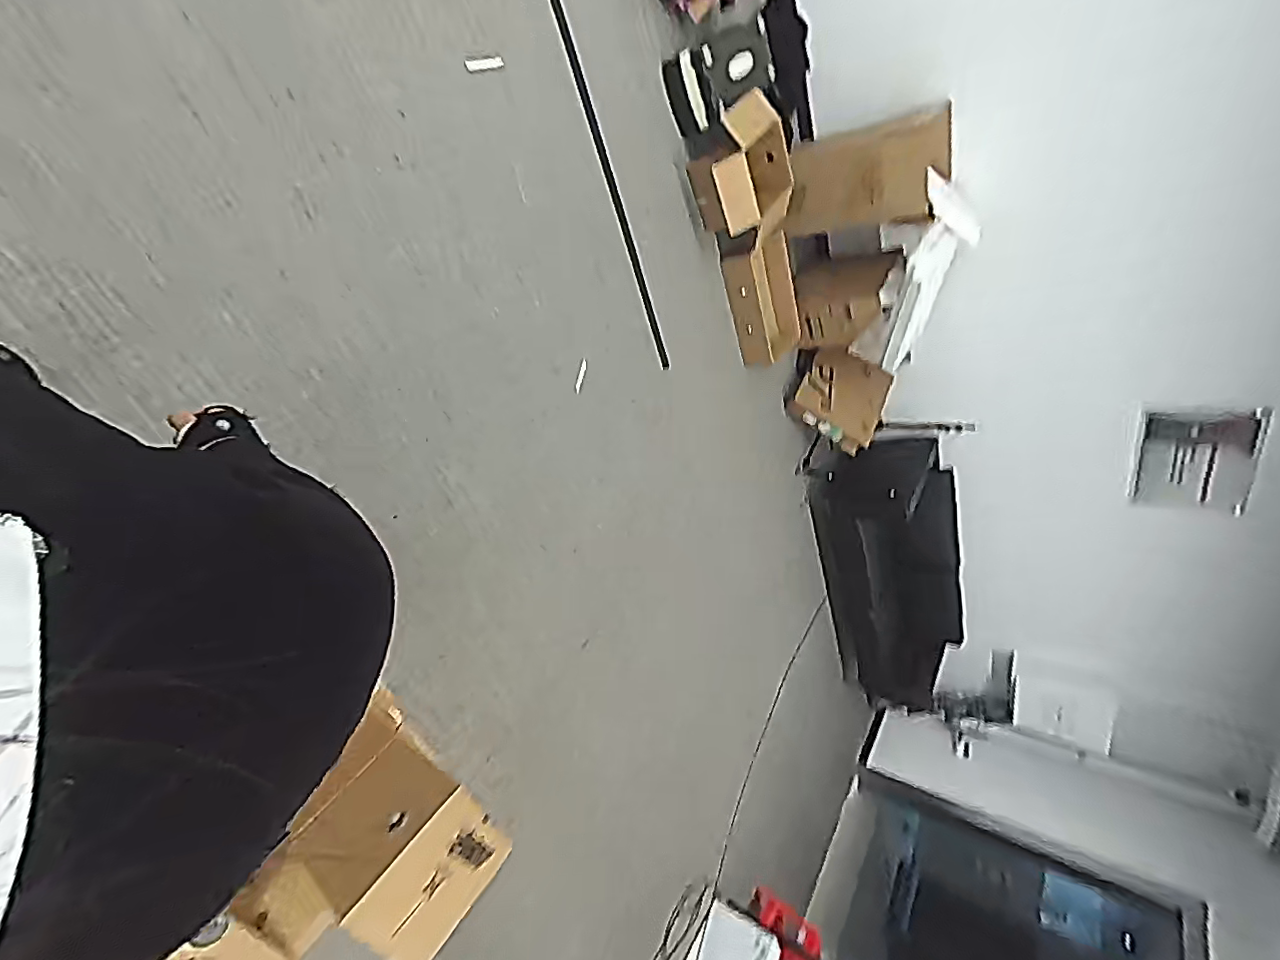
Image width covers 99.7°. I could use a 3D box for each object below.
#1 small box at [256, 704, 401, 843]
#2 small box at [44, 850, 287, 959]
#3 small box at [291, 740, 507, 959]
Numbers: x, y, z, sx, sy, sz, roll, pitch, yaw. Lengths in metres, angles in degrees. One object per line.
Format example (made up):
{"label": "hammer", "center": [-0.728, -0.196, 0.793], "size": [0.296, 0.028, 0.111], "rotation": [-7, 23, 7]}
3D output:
{"label": "small box", "center": [-0.445, 0.483, 0.839], "size": [0.168, 0.176, 0.179], "rotation": [-44, 125, -38]}
{"label": "small box", "center": [-0.588, 0.615, 0.678], "size": [0.168, 0.176, 0.179], "rotation": [-45, 126, -39]}
{"label": "small box", "center": [-0.322, 0.494, 0.731], "size": [0.179, 0.176, 0.168], "rotation": [-44, 125, -37]}
